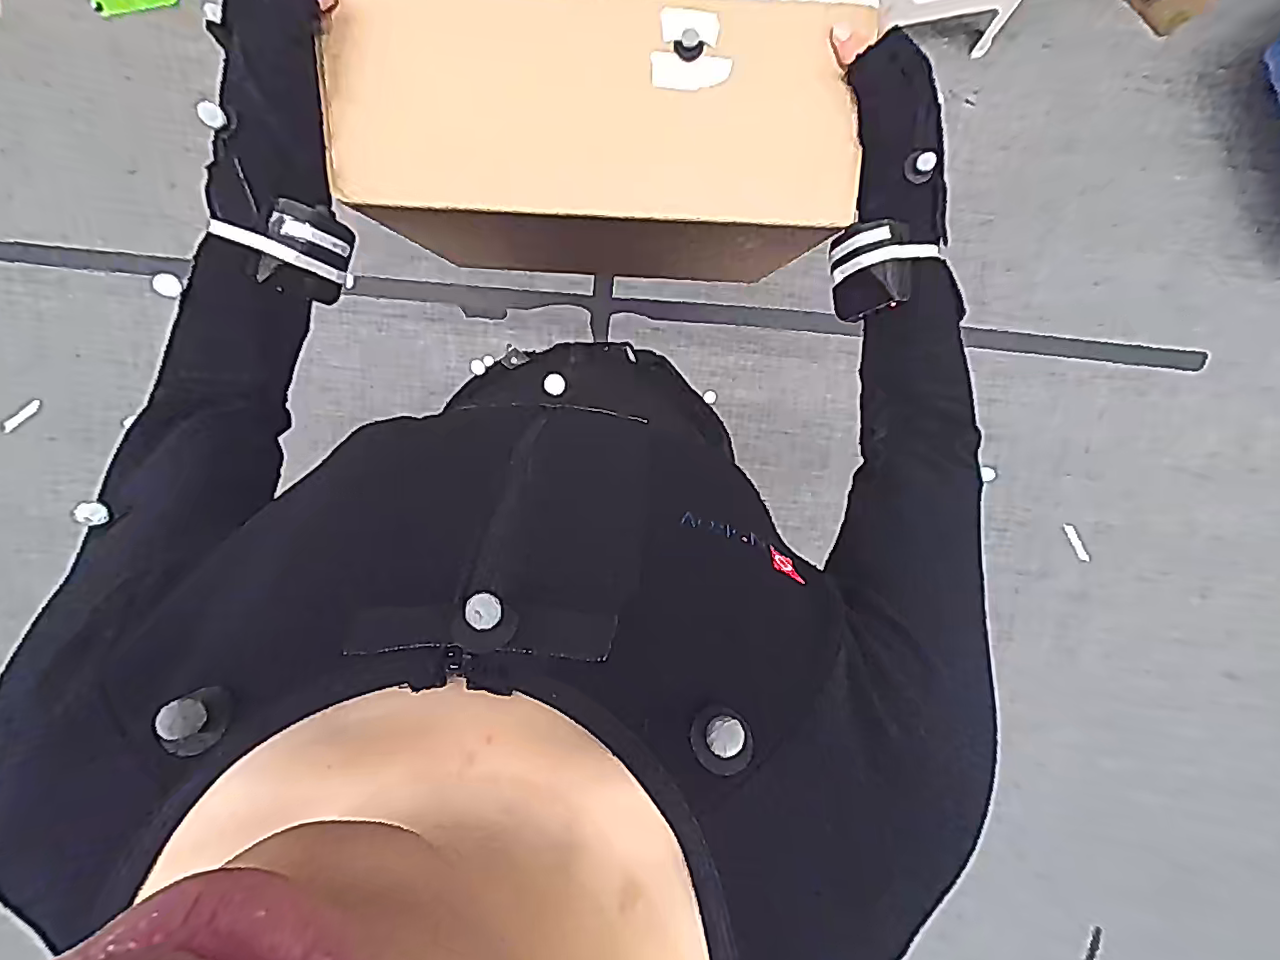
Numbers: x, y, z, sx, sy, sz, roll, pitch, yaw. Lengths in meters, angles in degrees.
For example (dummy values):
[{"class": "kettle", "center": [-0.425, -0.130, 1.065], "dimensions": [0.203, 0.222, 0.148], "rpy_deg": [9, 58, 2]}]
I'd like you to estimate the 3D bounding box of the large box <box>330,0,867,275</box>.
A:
[{"class": "large box", "center": [-0.033, -0.397, 0.542], "dimensions": [0.408, 0.320, 0.320], "rpy_deg": [2, 102, -2]}]
